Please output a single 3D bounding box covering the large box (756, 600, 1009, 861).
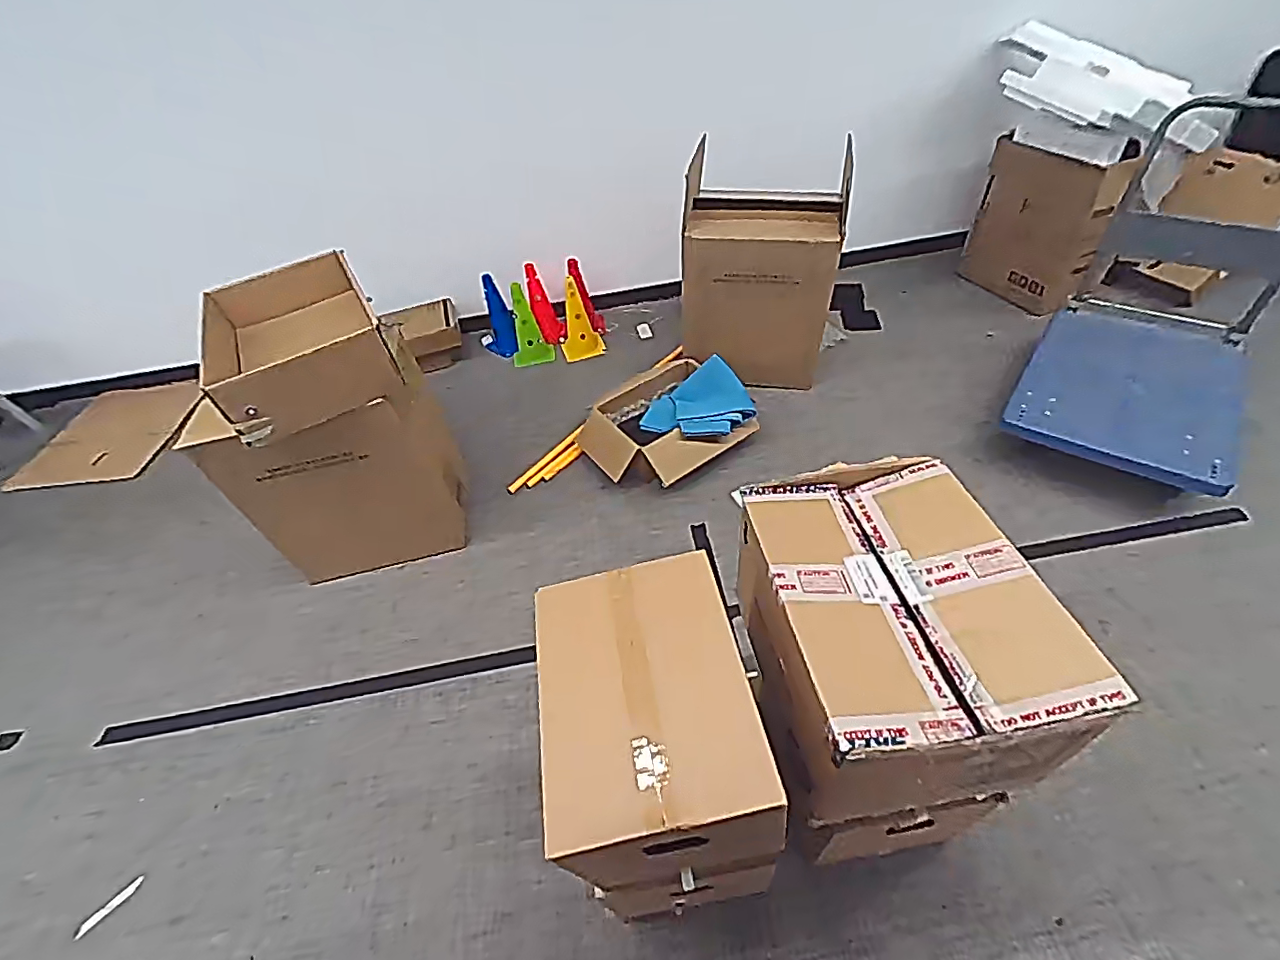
[{"bbox_3d":[0.469,0.532,1.168,0.320,0.320,0.408,-11,46,-2],"label":"large box"}]
